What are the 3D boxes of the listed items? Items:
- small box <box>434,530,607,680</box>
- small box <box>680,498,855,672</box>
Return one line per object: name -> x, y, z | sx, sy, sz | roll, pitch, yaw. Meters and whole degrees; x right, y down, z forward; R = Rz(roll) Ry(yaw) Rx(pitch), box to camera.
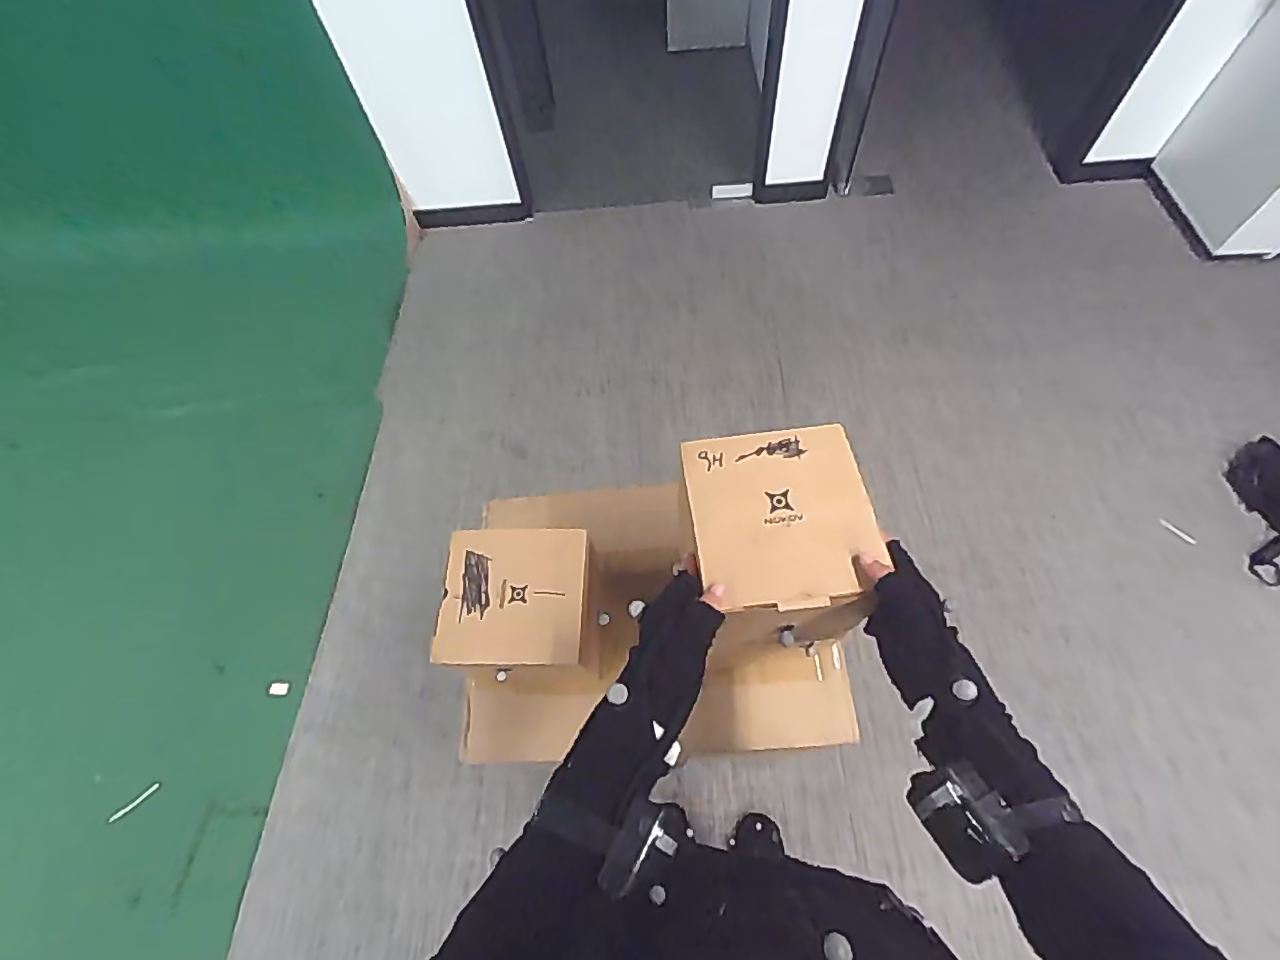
small box -> -0.146, 0.174, 0.727 | 0.179, 0.176, 0.168 | -1, 63, 4
small box -> 0.153, 0.145, 0.717 | 0.179, 0.176, 0.168 | -11, 61, 0
